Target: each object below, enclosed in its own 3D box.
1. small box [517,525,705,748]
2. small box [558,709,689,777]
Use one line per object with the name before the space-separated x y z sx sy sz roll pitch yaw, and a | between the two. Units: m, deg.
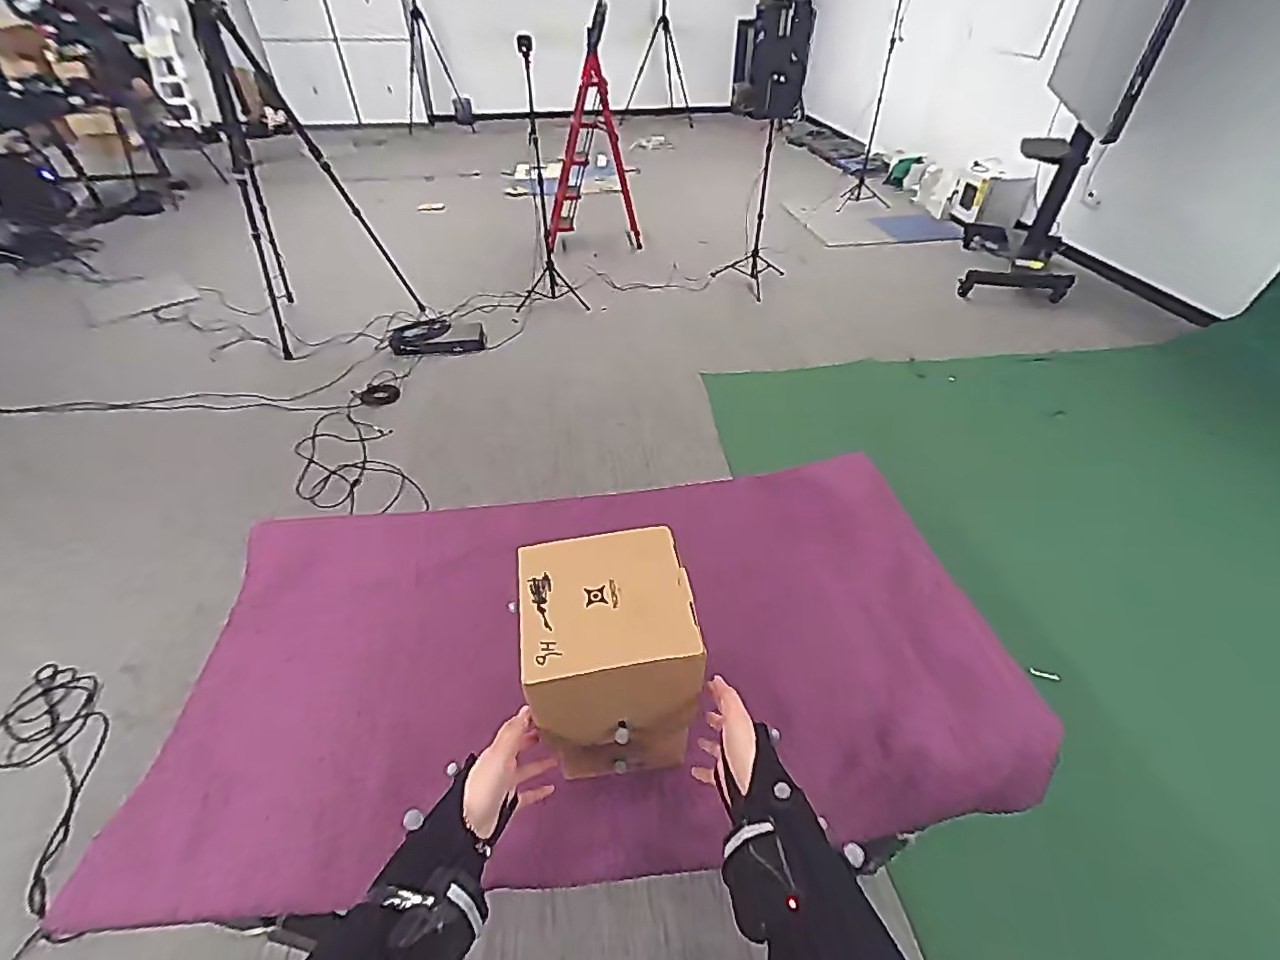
small box | -0.038 0.173 0.604 0.179 0.176 0.168 -7 42 -7
small box | -0.033 0.275 0.736 0.168 0.176 0.179 -5 43 -4
